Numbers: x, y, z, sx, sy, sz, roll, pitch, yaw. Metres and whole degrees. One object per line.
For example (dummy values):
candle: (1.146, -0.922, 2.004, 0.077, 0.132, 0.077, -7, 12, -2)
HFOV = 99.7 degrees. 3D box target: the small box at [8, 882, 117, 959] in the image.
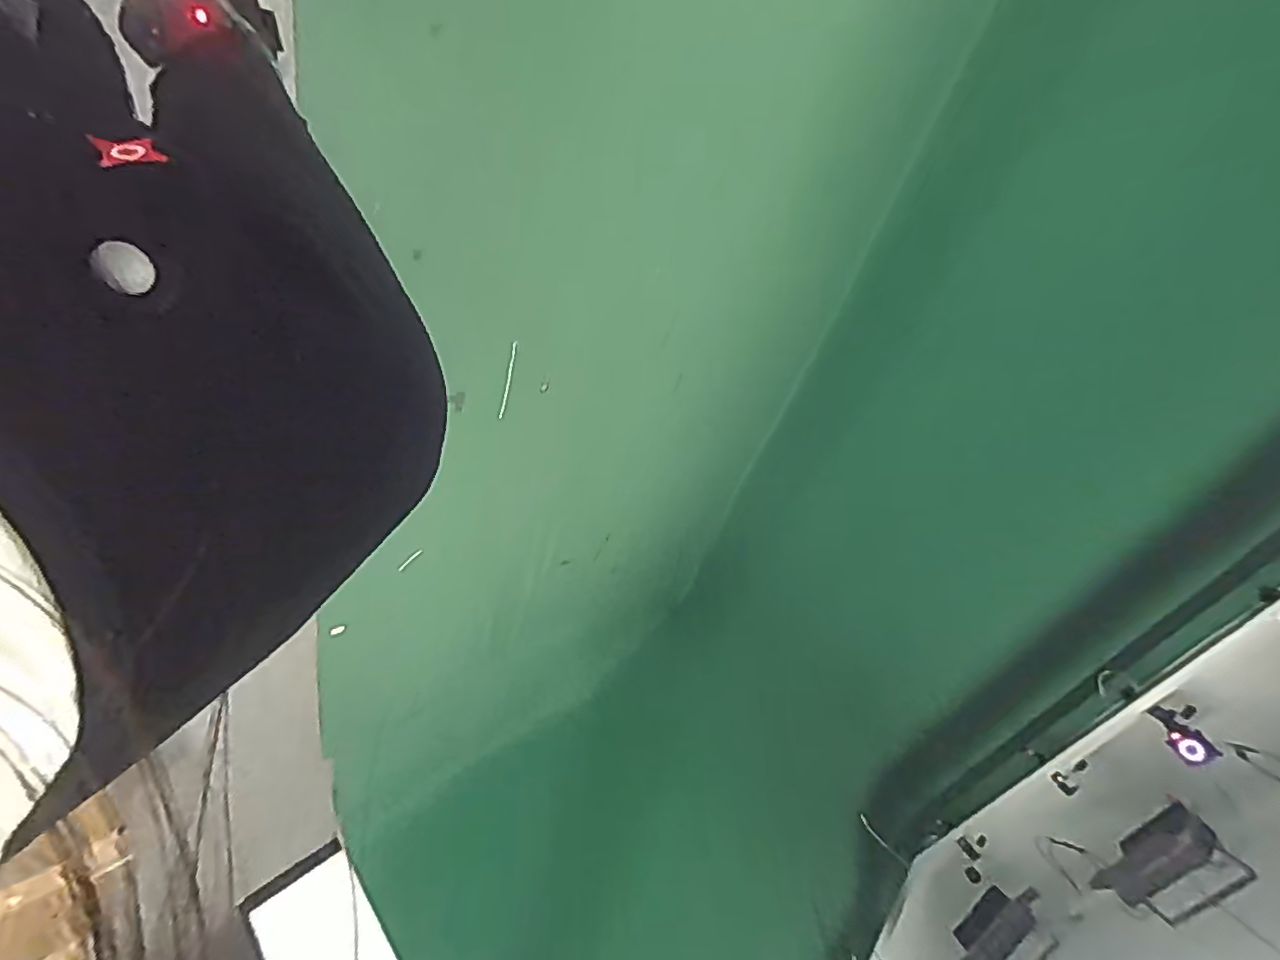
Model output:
small box: (-1.539, 1.239, 1.441, 0.179, 0.176, 0.168, -14, 131, -49)
